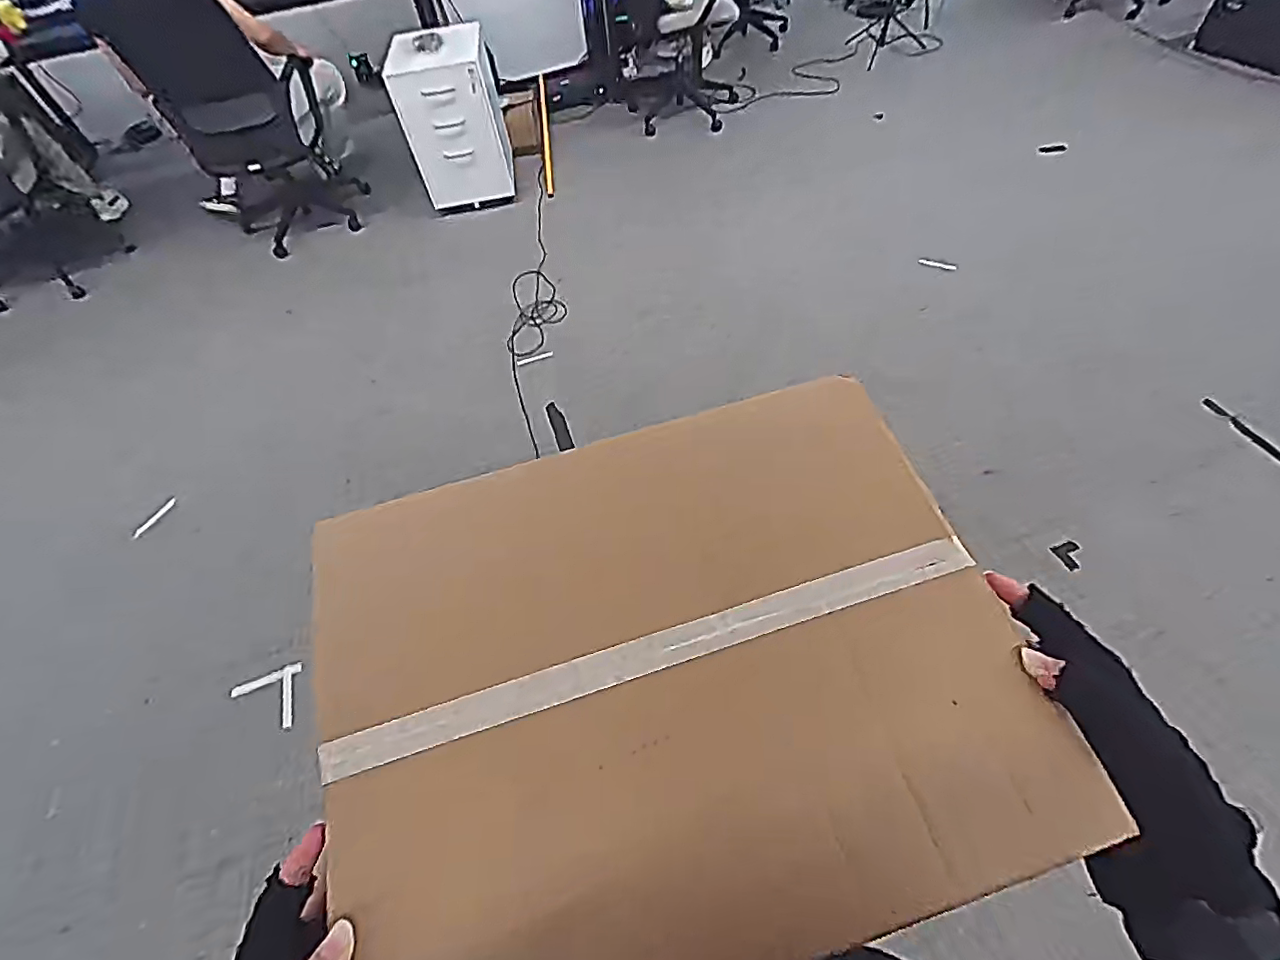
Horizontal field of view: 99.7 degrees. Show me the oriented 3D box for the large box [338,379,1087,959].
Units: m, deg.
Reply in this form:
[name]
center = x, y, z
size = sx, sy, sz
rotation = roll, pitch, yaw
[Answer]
[large box]
center = 0.020, 0.173, 0.474
size = 0.408, 0.320, 0.320
rotation = -17, 63, -5
